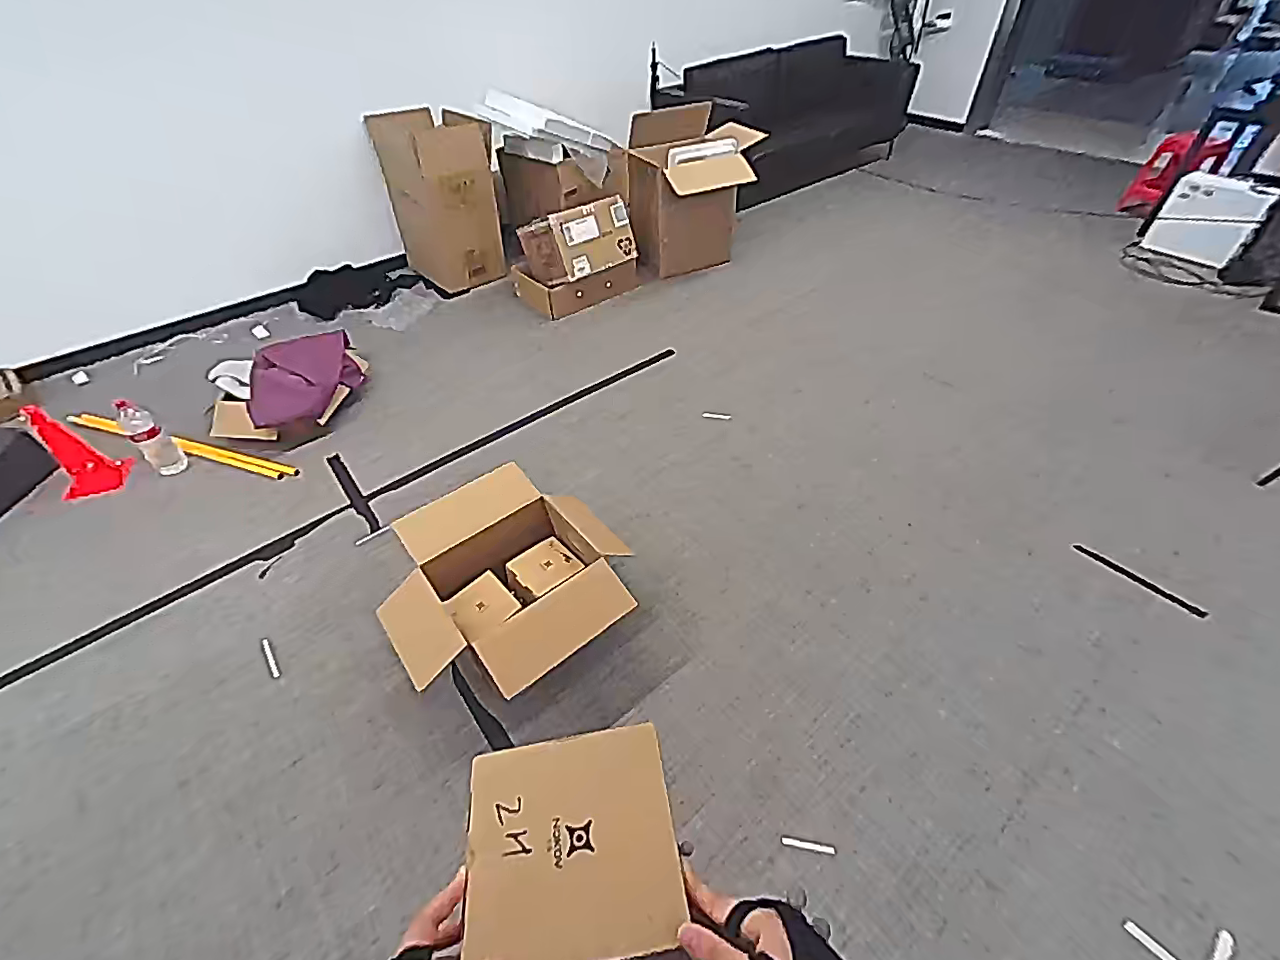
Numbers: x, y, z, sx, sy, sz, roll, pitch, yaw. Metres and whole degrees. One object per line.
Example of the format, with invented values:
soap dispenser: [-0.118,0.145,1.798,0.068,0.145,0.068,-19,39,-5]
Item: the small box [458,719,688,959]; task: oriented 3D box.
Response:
small box: [-0.055,0.354,0.512,0.179,0.176,0.168,-9,43,-3]
